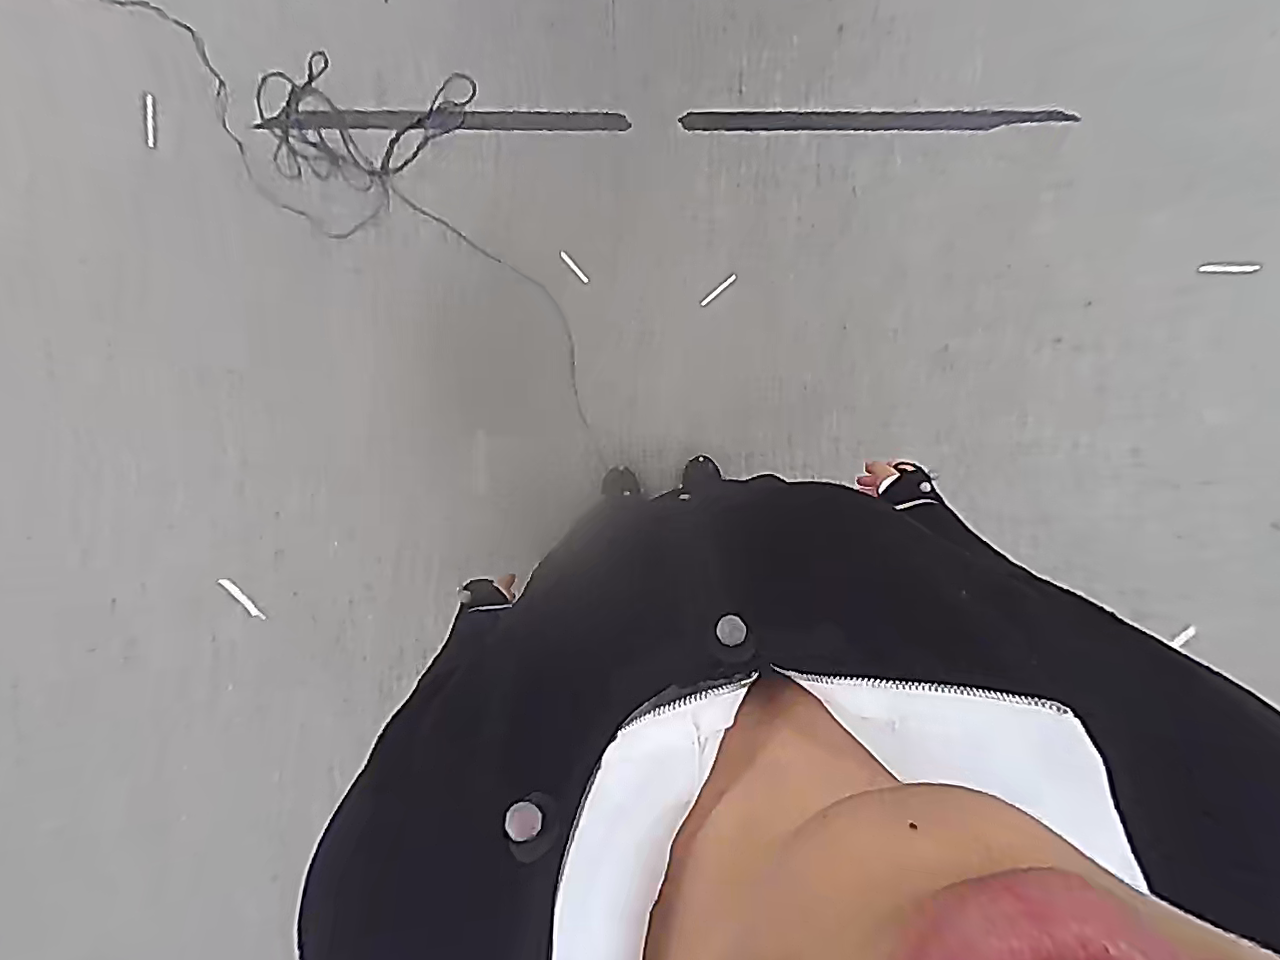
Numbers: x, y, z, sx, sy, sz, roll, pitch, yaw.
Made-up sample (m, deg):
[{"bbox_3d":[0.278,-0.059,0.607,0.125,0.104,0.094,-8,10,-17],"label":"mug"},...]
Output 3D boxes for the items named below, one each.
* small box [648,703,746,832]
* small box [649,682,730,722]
[{"bbox_3d":[0.110,0.571,1.090,0.179,0.176,0.168,-5,94,1],"label":"small box"},{"bbox_3d":[0.112,0.564,1.254,0.179,0.176,0.168,-4,92,1],"label":"small box"}]
